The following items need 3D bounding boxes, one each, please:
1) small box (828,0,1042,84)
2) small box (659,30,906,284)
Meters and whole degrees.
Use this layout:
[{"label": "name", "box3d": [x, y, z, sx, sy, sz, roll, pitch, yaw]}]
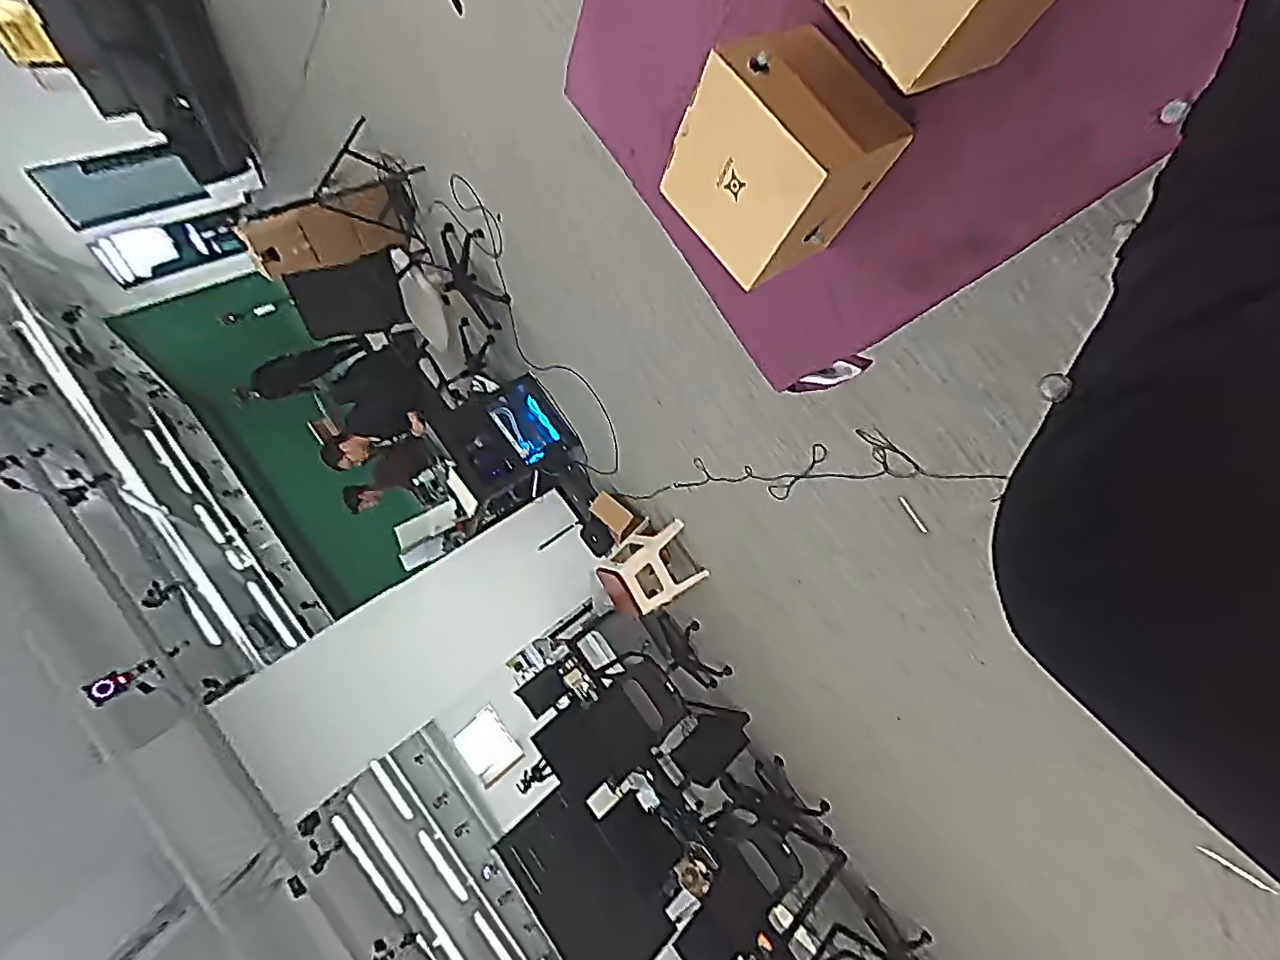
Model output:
[{"label": "small box", "box3d": [0.242, -0.438, 0.385, 0.168, 0.176, 0.179, 54, 153, 6]}, {"label": "small box", "box3d": [0.157, -0.367, 0.616, 0.179, 0.176, 0.168, 52, 154, 8]}]
